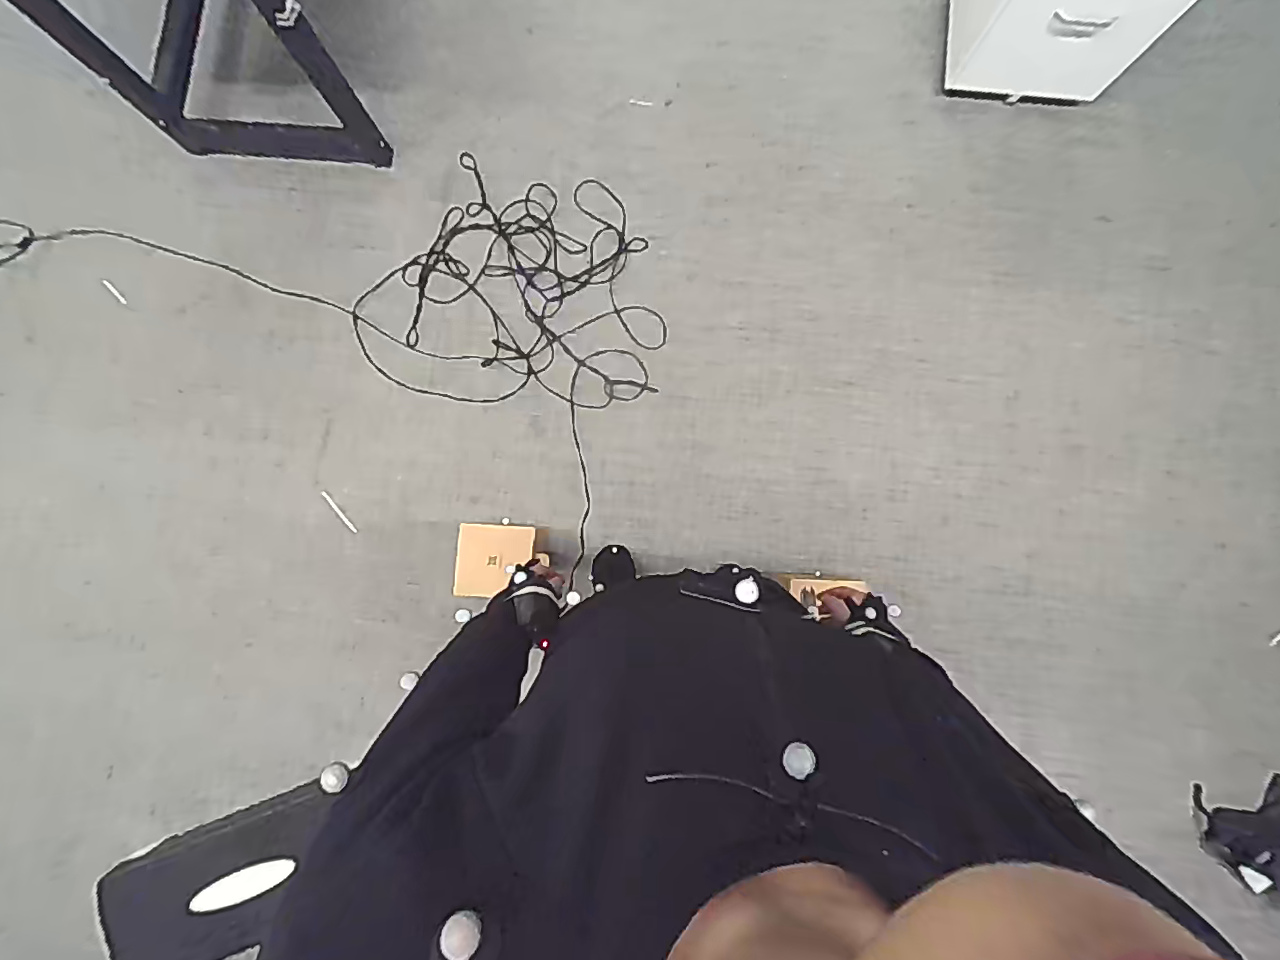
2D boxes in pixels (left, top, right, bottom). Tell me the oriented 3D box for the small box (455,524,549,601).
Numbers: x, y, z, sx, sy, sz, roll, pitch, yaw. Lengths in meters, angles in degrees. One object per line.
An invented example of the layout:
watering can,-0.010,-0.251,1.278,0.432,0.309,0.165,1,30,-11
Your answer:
small box,-0.326,0.196,1.302,0.179,0.176,0.168,3,84,0
